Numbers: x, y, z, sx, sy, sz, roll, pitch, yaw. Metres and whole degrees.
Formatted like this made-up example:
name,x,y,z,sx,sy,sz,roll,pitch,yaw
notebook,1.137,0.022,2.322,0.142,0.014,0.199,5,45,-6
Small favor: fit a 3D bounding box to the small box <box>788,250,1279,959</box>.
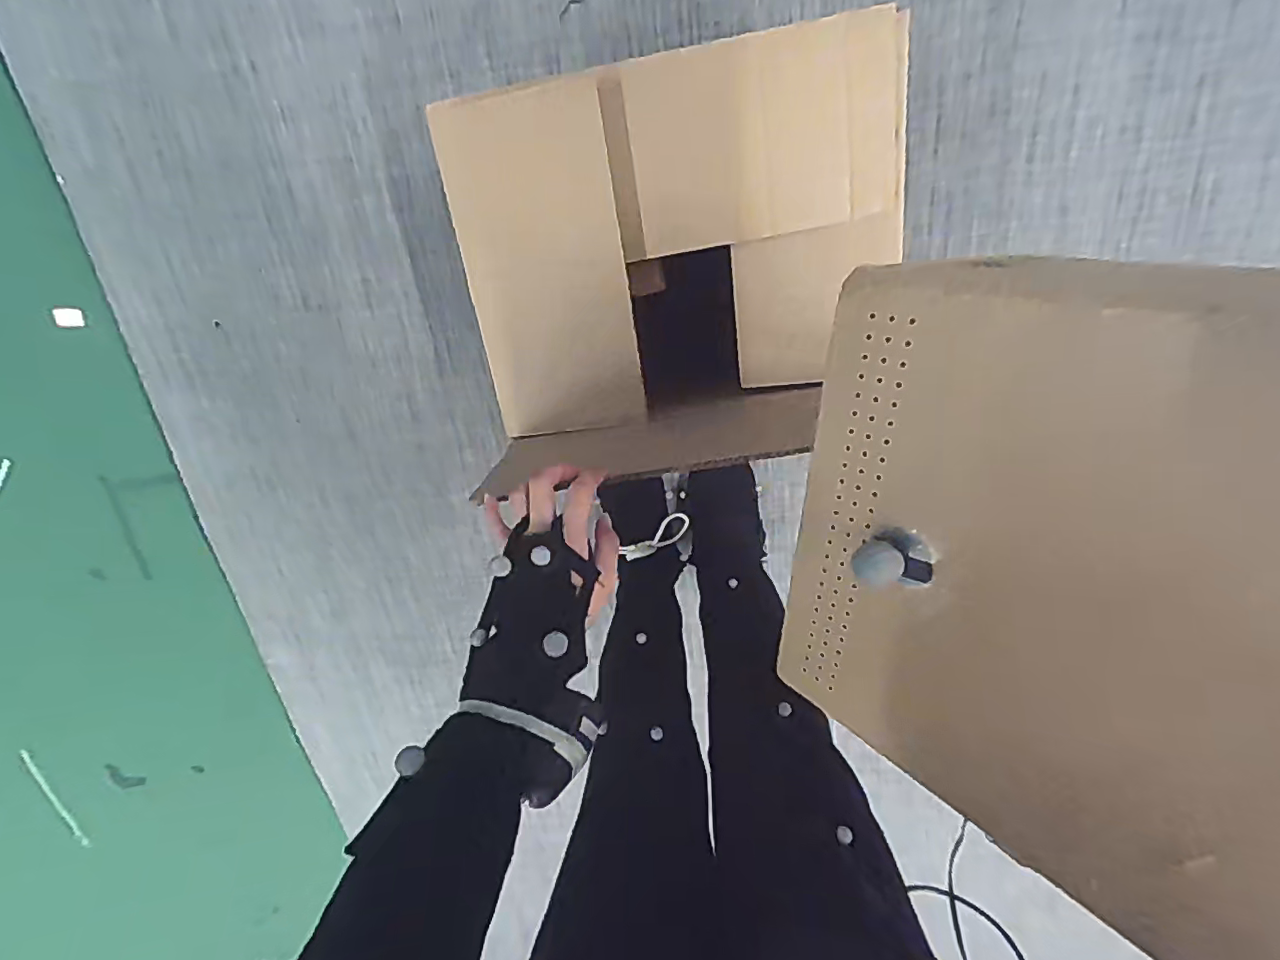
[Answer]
name,x,y,z,sx,sy,sz,roll,pitch,yaw
small box,0.177,0.015,0.200,0.168,0.176,0.179,-18,122,-34
